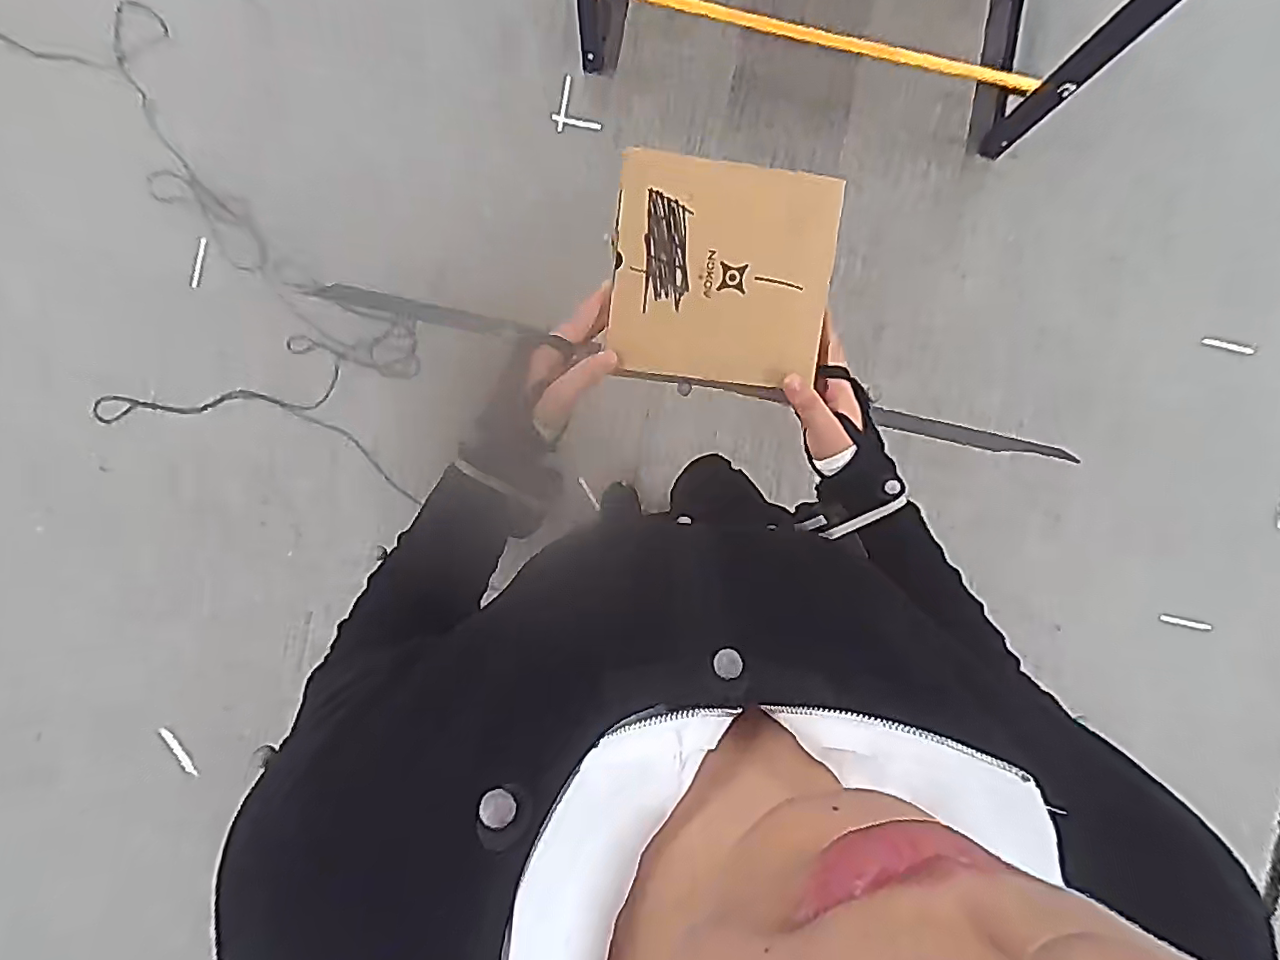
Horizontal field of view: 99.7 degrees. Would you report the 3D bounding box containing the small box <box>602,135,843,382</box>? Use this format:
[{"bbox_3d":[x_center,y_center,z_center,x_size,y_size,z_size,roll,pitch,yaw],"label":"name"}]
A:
[{"bbox_3d":[0.059,-0.184,0.504,0.179,0.176,0.168,6,98,-5],"label":"small box"}]
